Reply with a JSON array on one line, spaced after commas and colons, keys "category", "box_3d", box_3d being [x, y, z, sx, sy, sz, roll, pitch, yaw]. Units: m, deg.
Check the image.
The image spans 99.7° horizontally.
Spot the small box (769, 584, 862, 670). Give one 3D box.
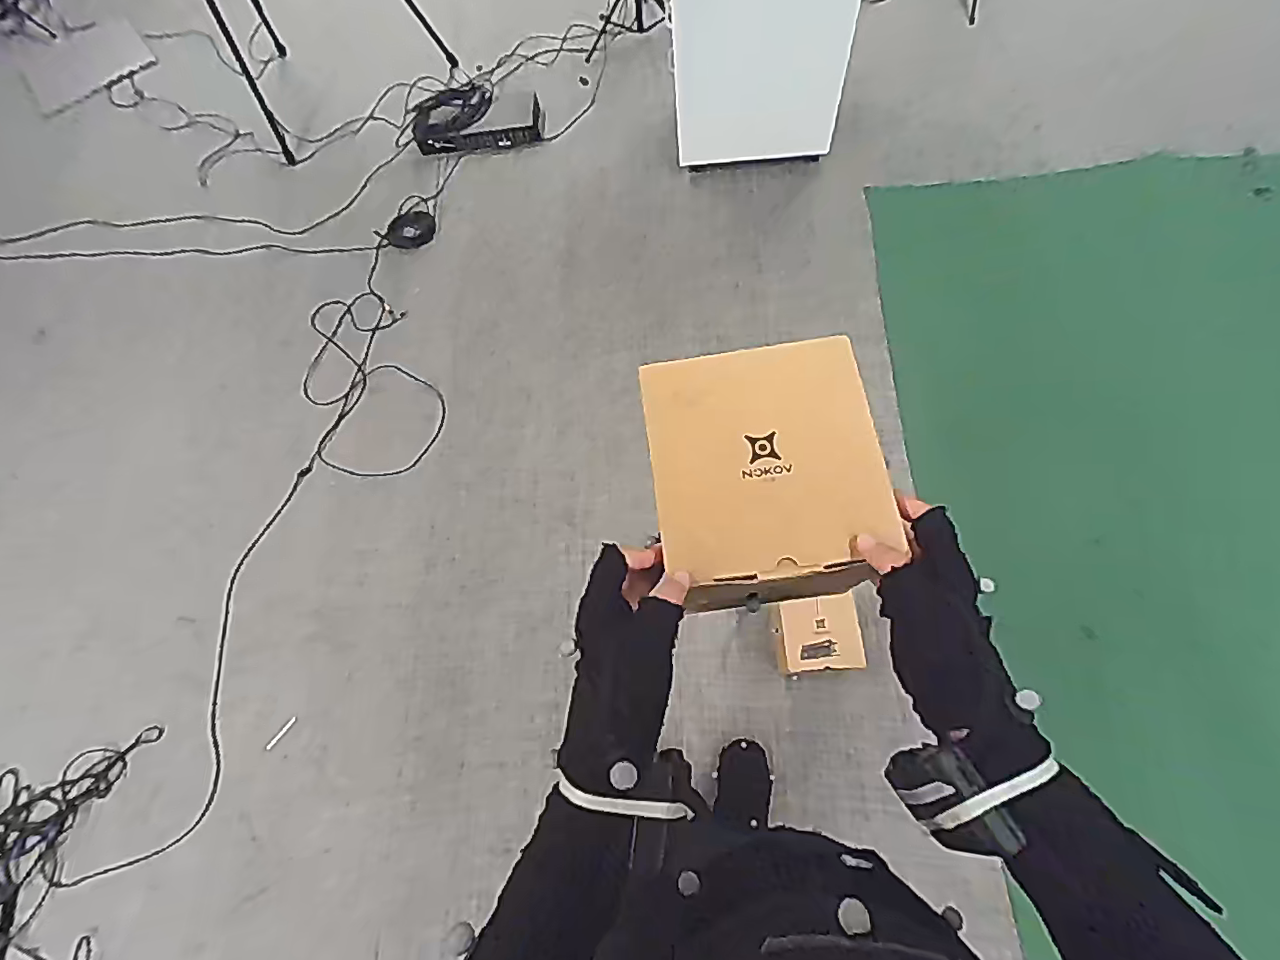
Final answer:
[{"category": "small box", "box_3d": [0.397, 0.346, 1.250, 0.168, 0.176, 0.179, -4, 68, 5]}]
